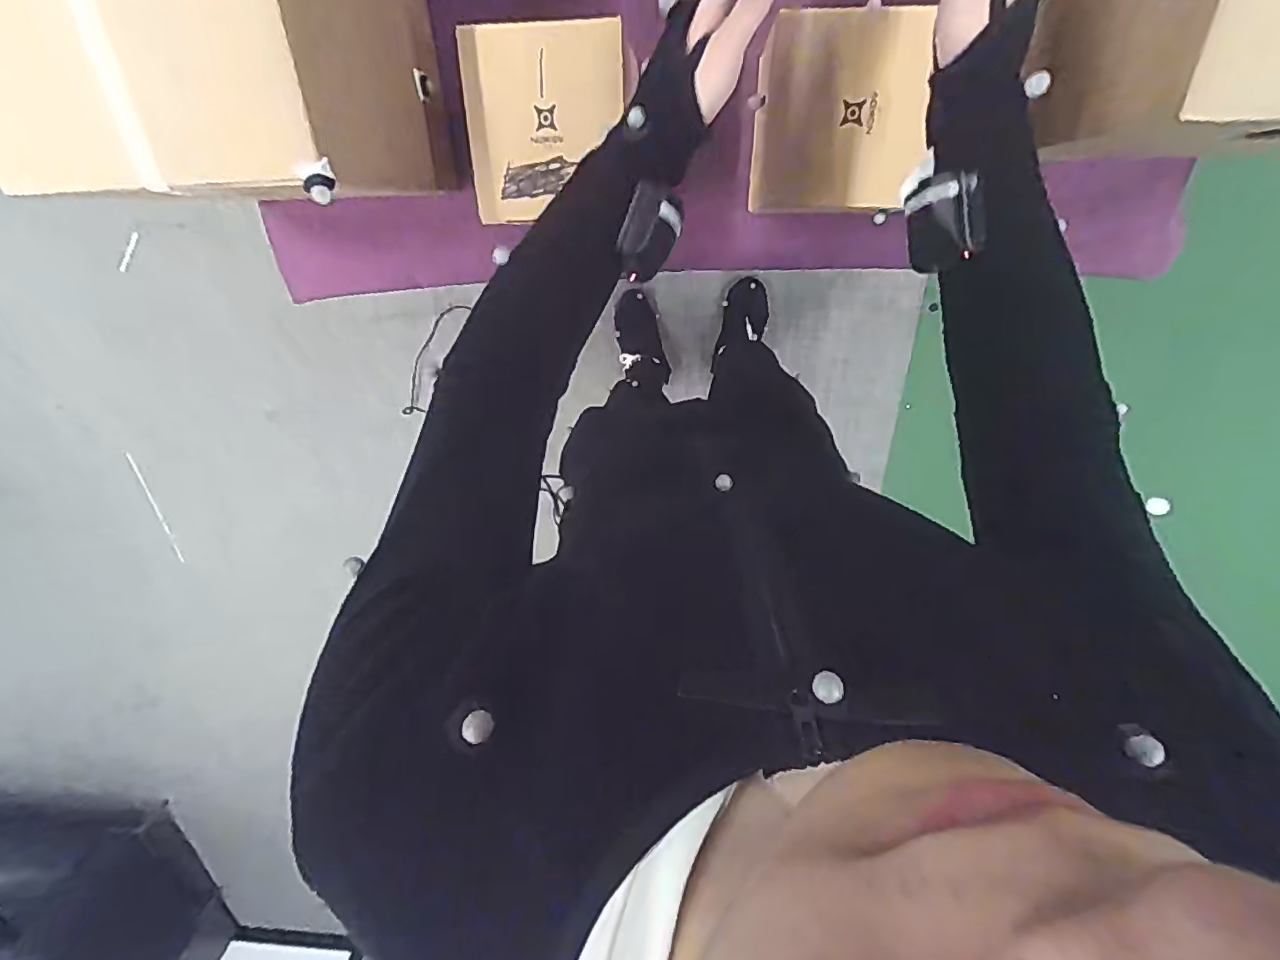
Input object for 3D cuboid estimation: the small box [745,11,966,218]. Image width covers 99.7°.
[{"bbox_3d":[0.215,-0.386,0.600,0.179,0.176,0.168,2,115,4],"label":"small box"}]
